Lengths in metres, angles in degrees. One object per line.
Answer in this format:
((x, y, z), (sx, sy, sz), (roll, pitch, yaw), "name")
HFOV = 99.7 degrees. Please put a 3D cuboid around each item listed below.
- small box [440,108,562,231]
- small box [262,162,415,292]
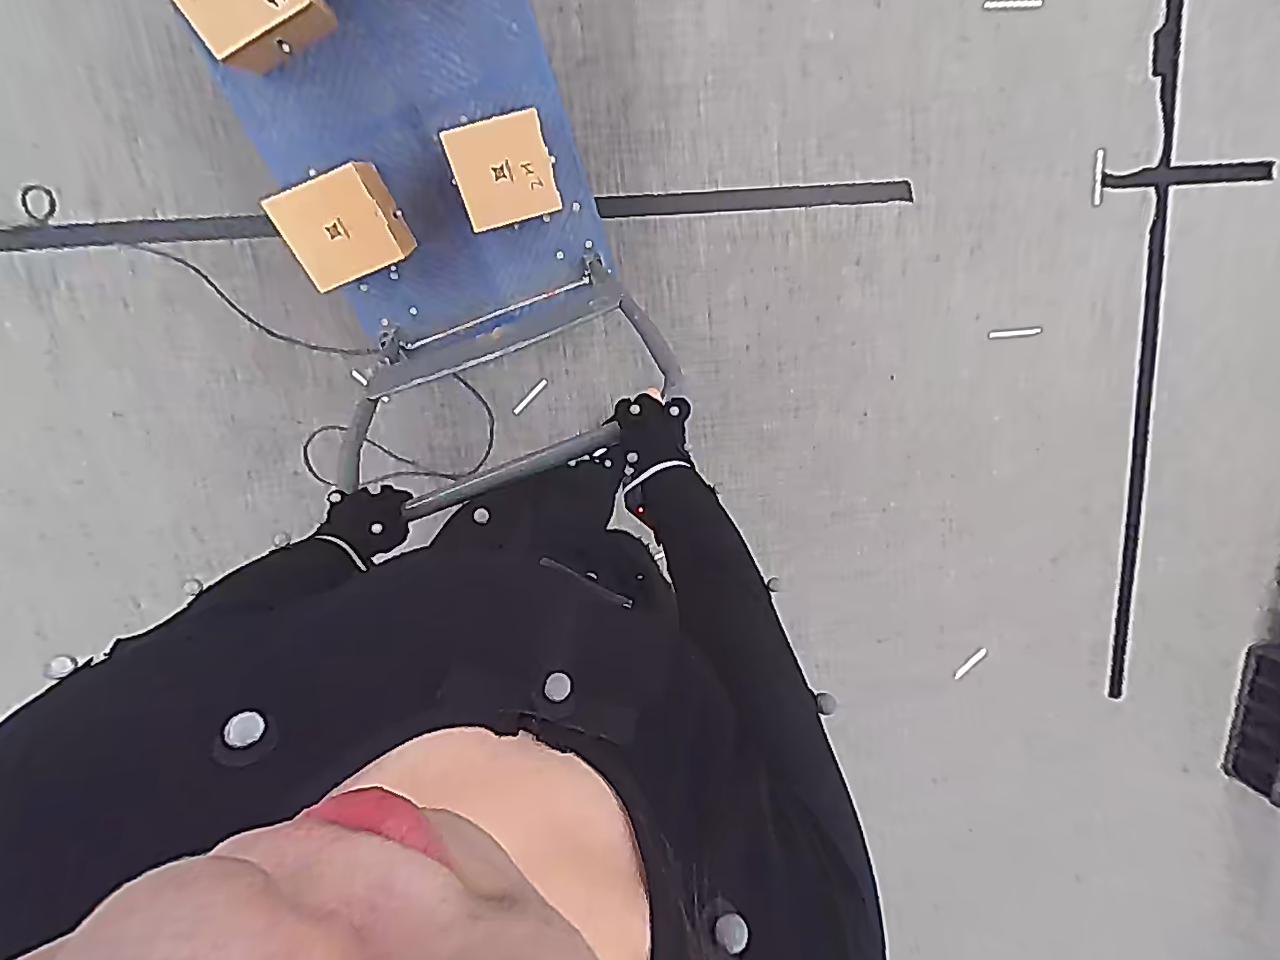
((-0.259, -0.592, 1.039), (0.179, 0.176, 0.168), (-18, 122, -4), "small box")
((-0.557, -0.481, 1.029), (0.179, 0.176, 0.168), (-25, 122, -1), "small box")
